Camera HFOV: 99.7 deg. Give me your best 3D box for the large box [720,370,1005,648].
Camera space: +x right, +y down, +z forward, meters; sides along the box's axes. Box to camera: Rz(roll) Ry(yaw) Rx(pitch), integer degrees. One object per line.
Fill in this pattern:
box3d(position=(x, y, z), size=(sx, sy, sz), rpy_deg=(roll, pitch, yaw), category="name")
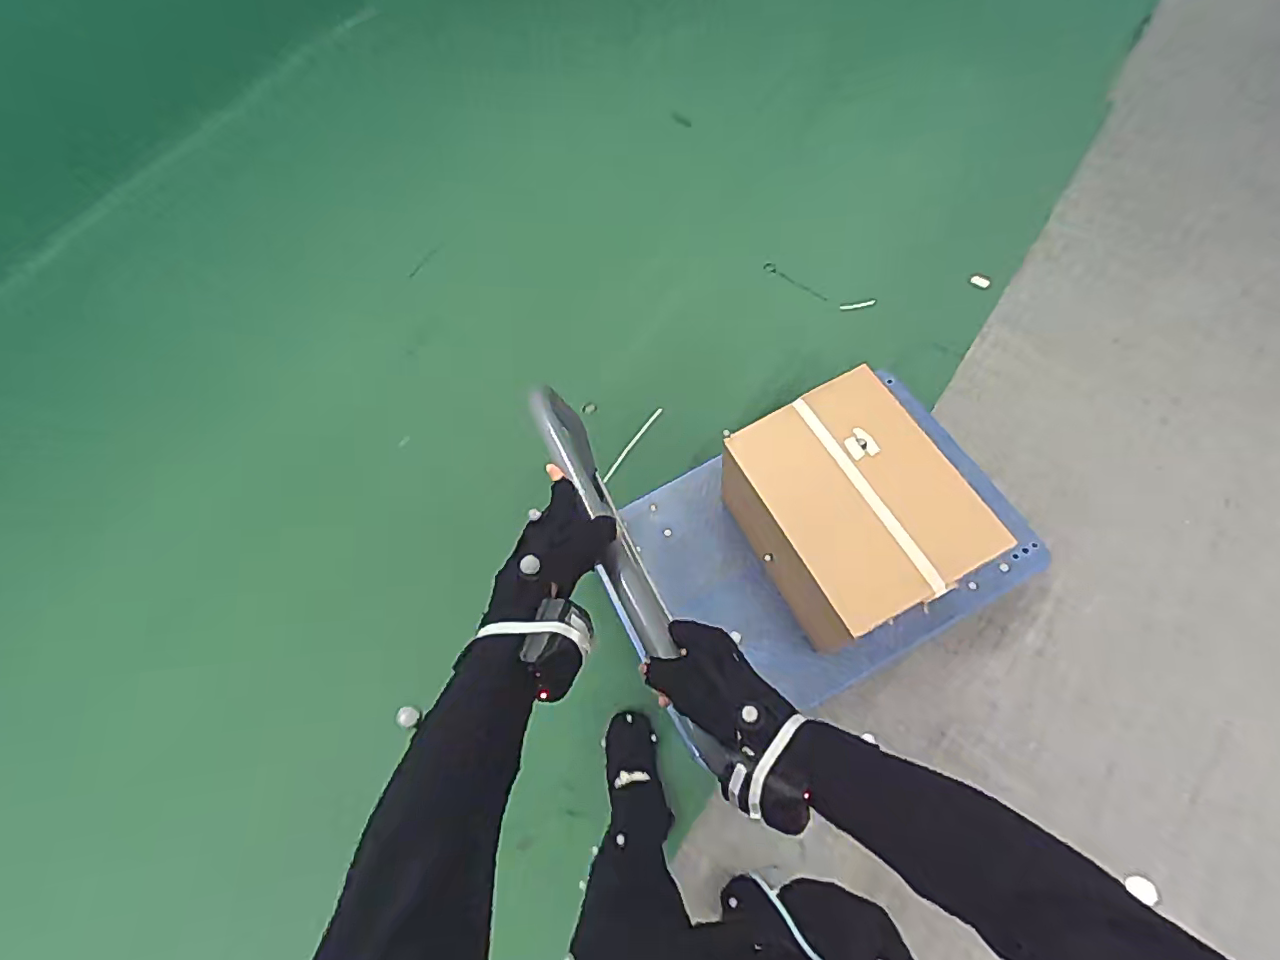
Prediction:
box3d(position=(0.395, 0.071, 1.083), size=(0.320, 0.320, 0.408), rpy_deg=(-28, 66, -4), category="large box")
